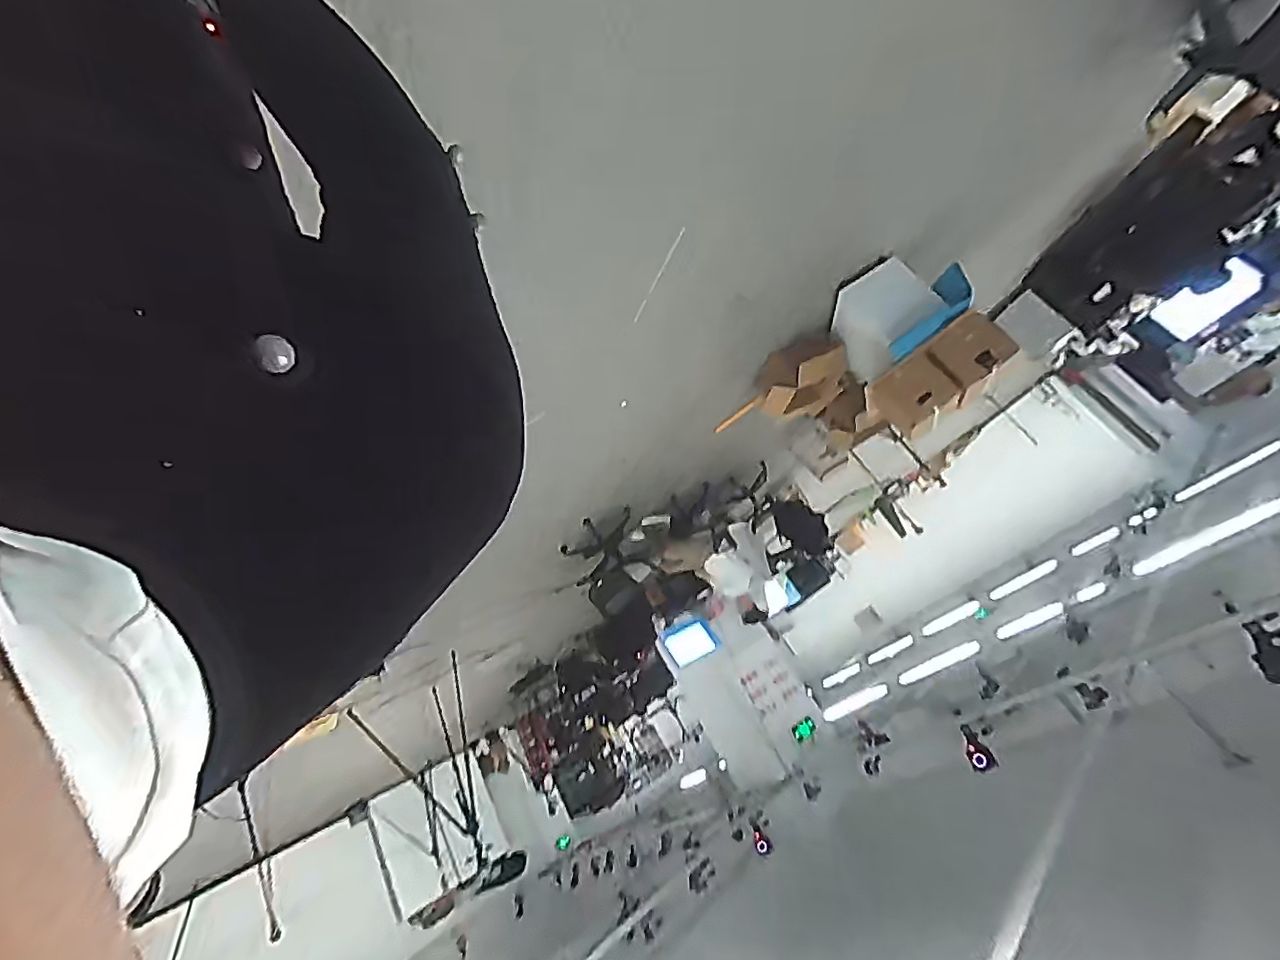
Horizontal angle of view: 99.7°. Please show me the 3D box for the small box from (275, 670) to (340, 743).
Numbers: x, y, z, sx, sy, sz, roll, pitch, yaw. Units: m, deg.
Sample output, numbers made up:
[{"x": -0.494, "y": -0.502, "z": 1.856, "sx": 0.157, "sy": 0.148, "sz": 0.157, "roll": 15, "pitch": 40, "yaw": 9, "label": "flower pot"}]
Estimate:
[{"x": -1.207, "y": 0.811, "z": 1.957, "sx": 0.168, "sy": 0.176, "sz": 0.179, "roll": -11, "pitch": 149, "yaw": -41, "label": "small box"}]

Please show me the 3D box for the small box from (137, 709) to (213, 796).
[{"x": -1.468, "y": 0.851, "z": 1.700, "sx": 0.168, "sy": 0.176, "sz": 0.179, "roll": -14, "pitch": 151, "yaw": -41, "label": "small box"}]
